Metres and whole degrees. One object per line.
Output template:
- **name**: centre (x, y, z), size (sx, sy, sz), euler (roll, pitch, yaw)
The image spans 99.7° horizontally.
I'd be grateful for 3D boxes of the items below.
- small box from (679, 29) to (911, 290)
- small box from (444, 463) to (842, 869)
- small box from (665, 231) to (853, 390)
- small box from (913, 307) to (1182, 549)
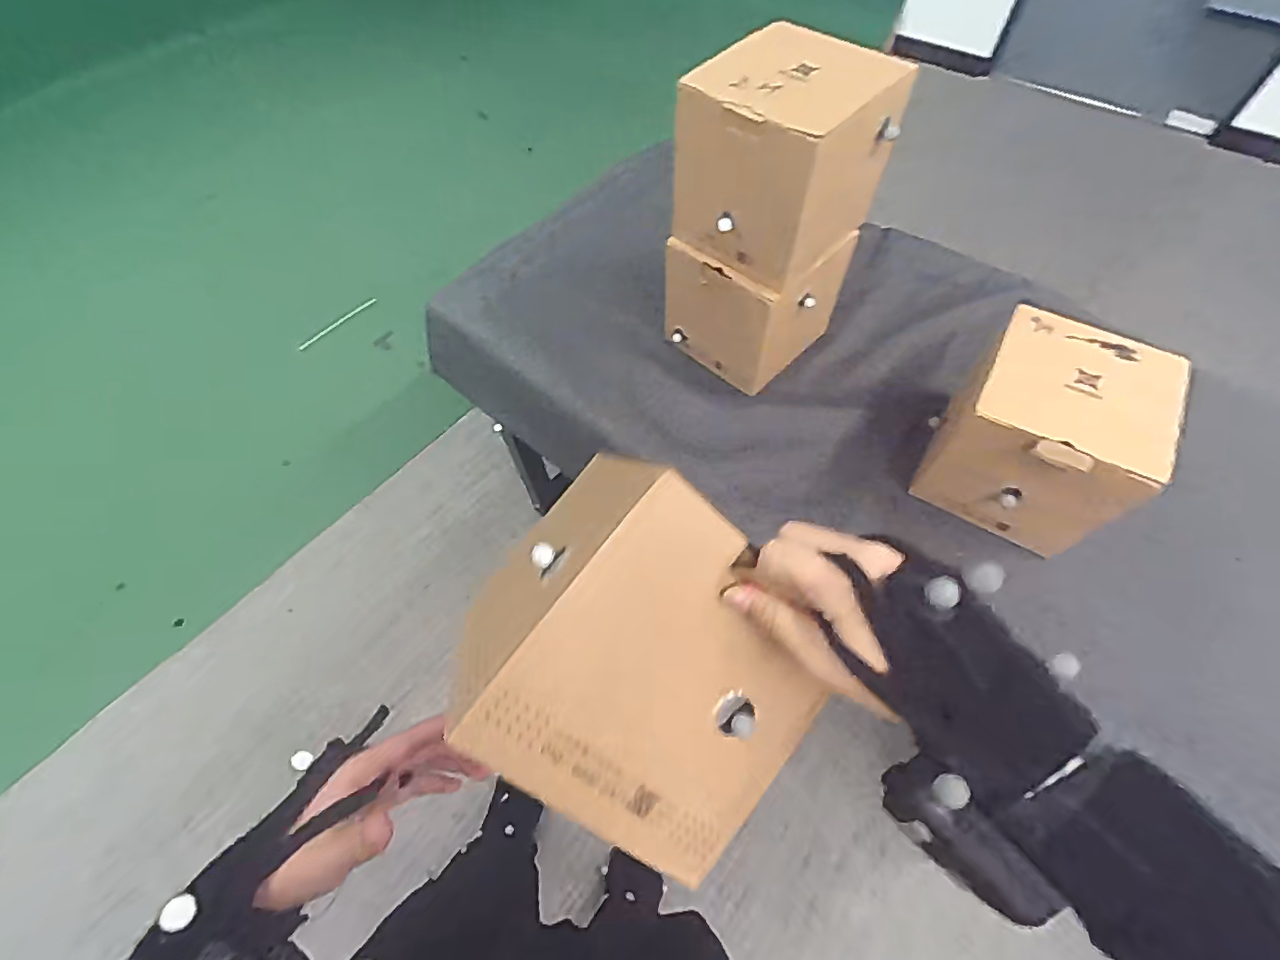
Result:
- **small box**: centre (0.154, -0.351, 0.600), size (0.168, 0.176, 0.179), euler (38, 67, 22)
- **small box**: centre (-0.012, 0.106, 0.366), size (0.168, 0.179, 0.176), euler (41, 80, -16)
- **small box**: centre (0.151, -0.255, 0.736), size (0.168, 0.176, 0.179), euler (40, 68, 22)
- **small box**: centre (0.435, -0.051, 0.605), size (0.168, 0.176, 0.179), euler (28, 65, 18)
